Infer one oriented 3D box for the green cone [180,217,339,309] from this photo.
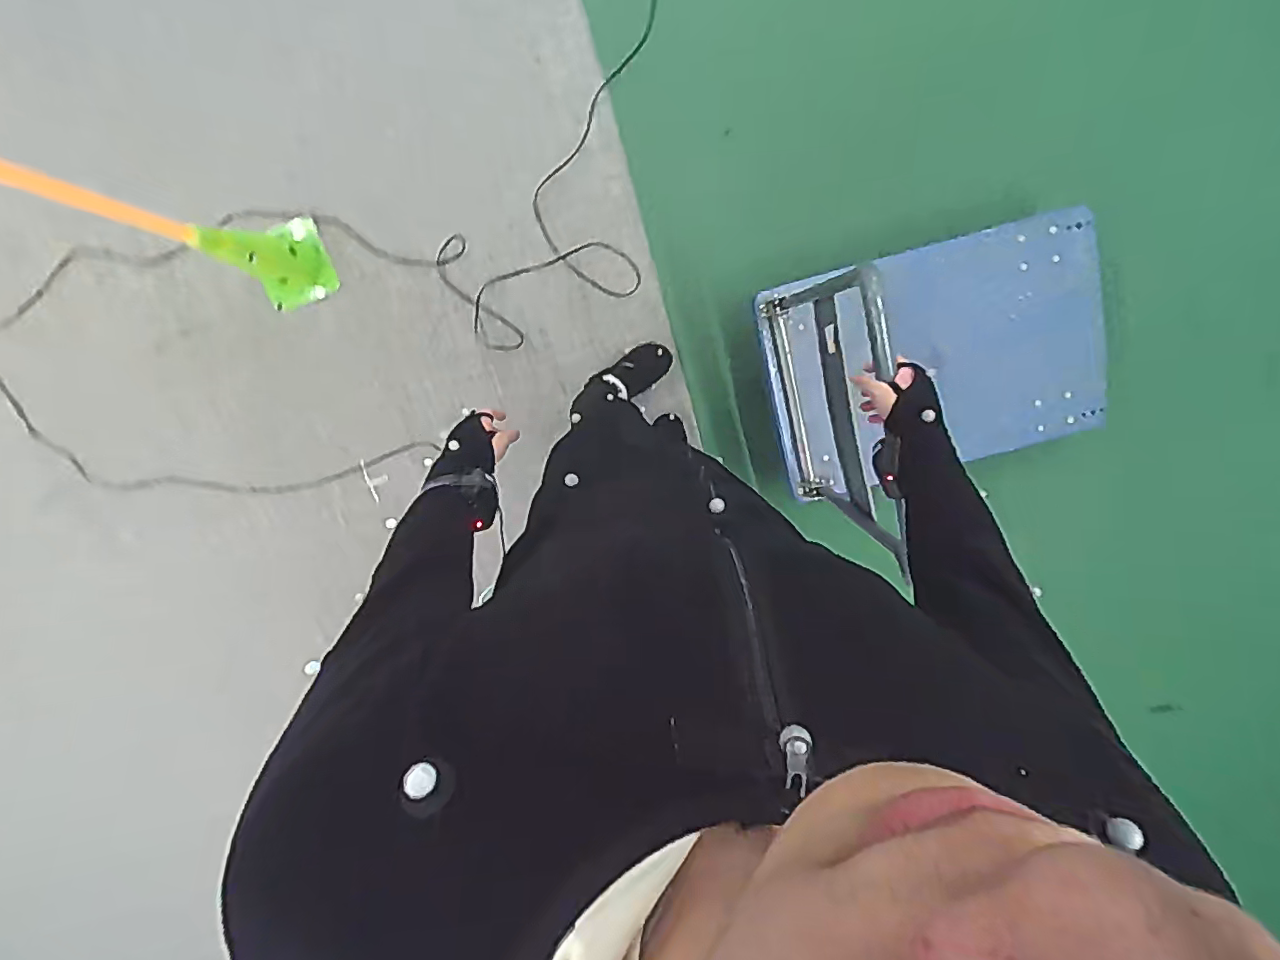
[{"bbox_3d":[-0.948,-0.561,1.316,0.200,0.368,0.202,-20,100,4],"label":"green cone"}]
